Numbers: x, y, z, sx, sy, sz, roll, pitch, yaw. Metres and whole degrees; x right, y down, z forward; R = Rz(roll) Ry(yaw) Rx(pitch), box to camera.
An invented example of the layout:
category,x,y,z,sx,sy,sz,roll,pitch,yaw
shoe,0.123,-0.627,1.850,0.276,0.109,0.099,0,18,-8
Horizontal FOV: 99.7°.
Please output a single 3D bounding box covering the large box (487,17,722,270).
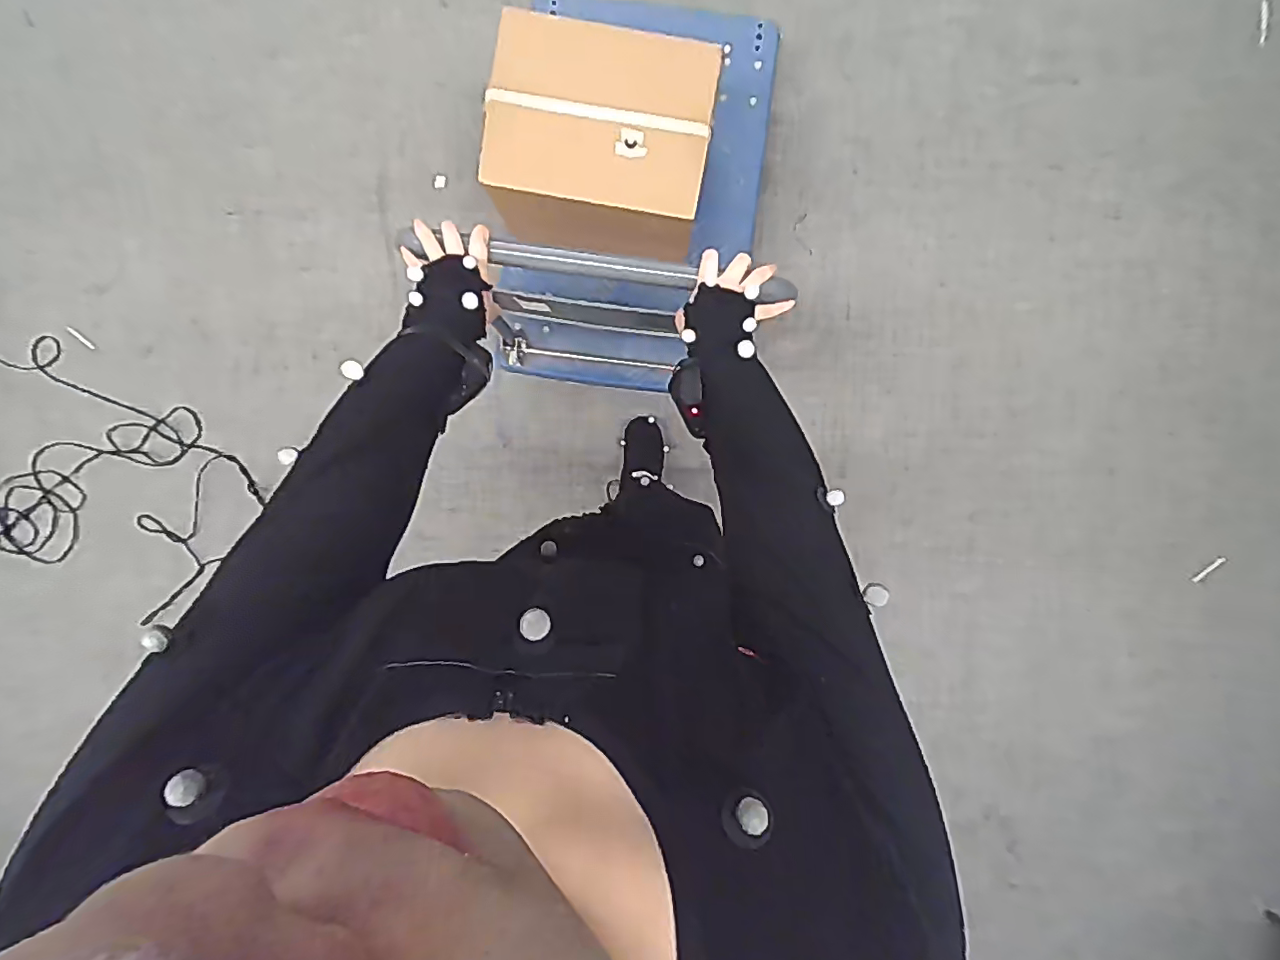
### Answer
category,x,y,z,sx,sy,sz,roll,pitch,yaw
large box,-0.070,-0.677,1.146,0.408,0.320,0.320,10,93,-1
